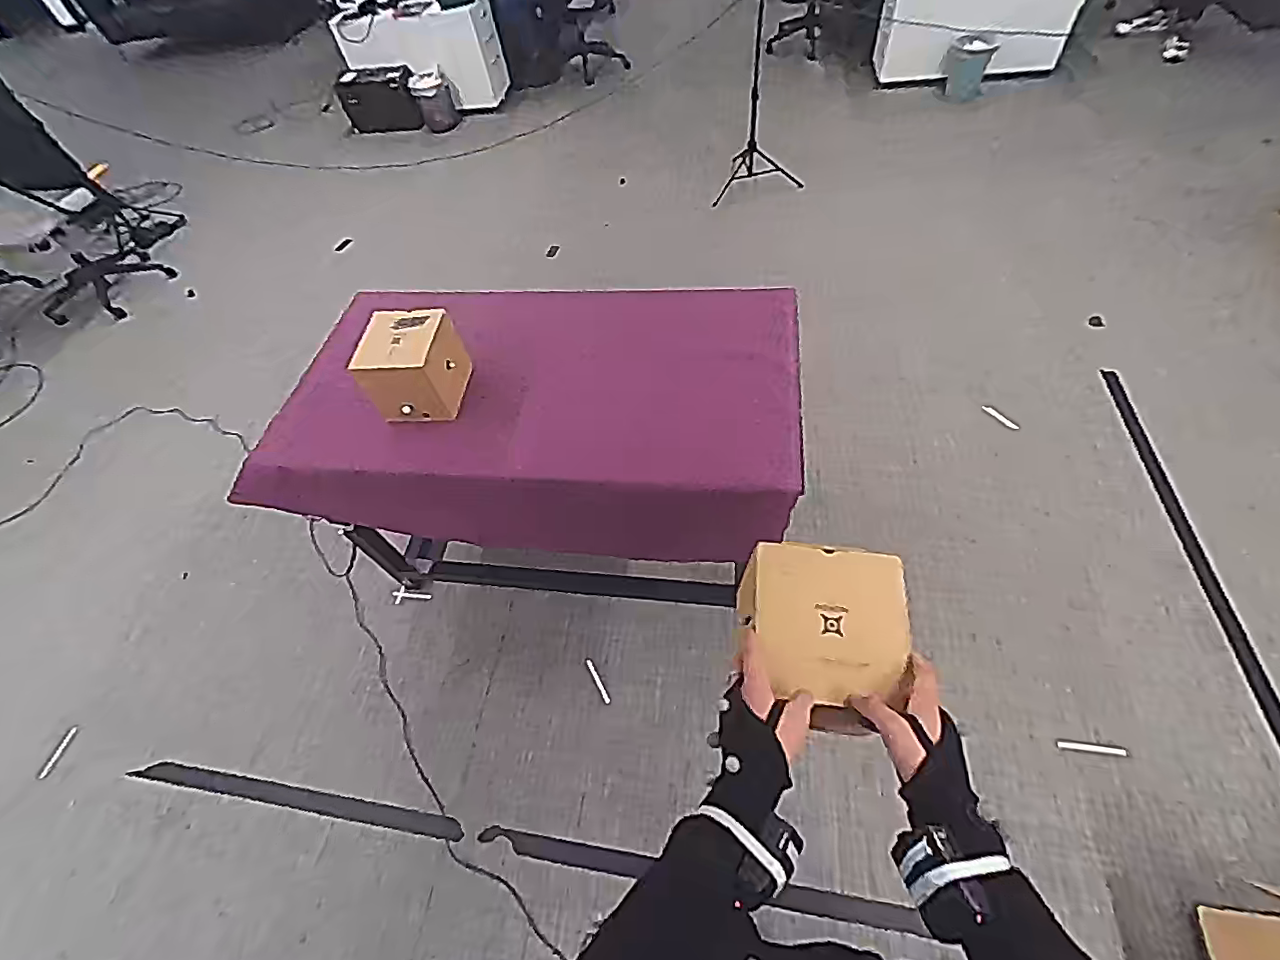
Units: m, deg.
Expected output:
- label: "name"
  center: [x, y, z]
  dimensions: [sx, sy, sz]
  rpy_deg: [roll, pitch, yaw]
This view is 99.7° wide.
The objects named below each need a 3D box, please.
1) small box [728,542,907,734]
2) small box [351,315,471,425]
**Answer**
- label: "small box"
  center: [0.200, 0.197, 0.664]
  dimensions: [0.168, 0.176, 0.179]
  rpy_deg: [4, 58, 5]
- label: "small box"
  center: [-0.495, -0.242, 1.202]
  dimensions: [0.168, 0.176, 0.179]
  rpy_deg: [-1, 56, 7]
